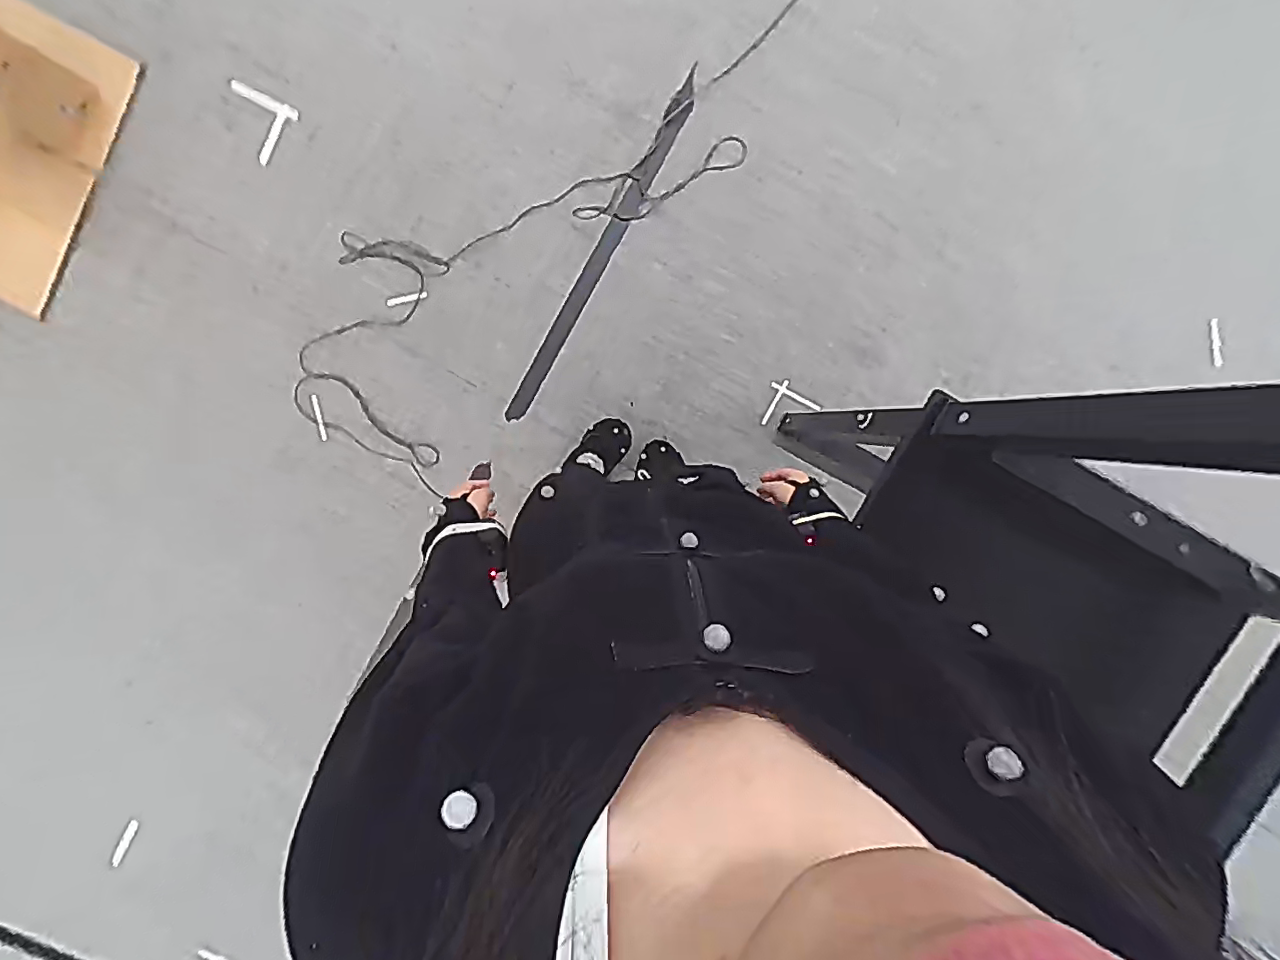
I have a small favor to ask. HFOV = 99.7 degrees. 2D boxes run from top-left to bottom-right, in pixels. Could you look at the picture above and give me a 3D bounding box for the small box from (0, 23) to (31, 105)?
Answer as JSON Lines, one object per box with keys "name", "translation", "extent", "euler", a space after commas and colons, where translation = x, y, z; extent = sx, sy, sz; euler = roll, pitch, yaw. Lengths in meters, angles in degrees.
{"name": "small box", "translation": [-1.423, -0.909, 1.086], "extent": [0.179, 0.176, 0.168], "euler": [31, 94, -6]}
